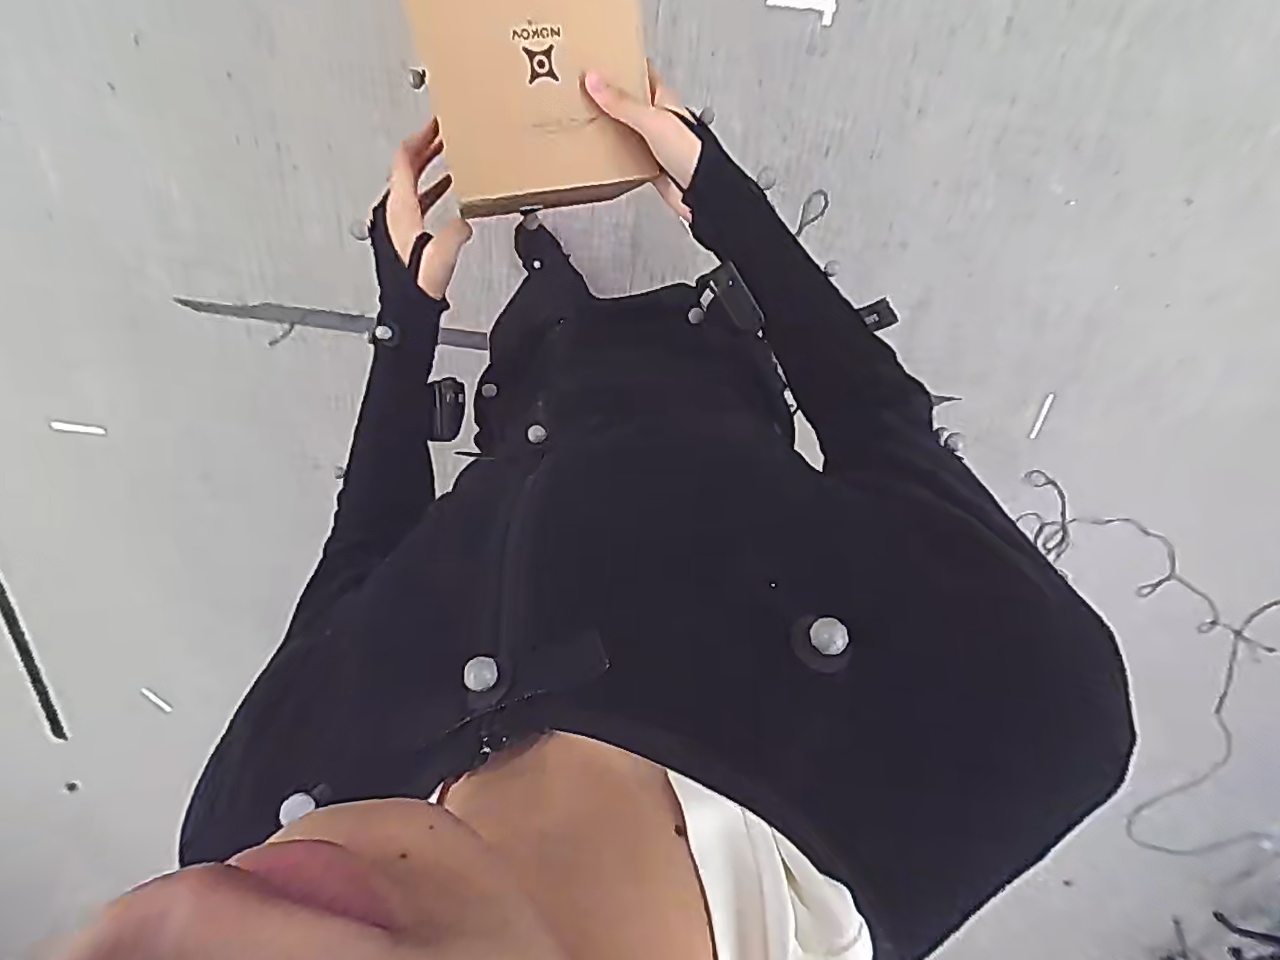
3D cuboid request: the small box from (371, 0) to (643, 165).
[{"bbox_3d":[-0.108,-0.352,0.397,0.168,0.176,0.179,-14,115,-11],"label":"small box"}]
